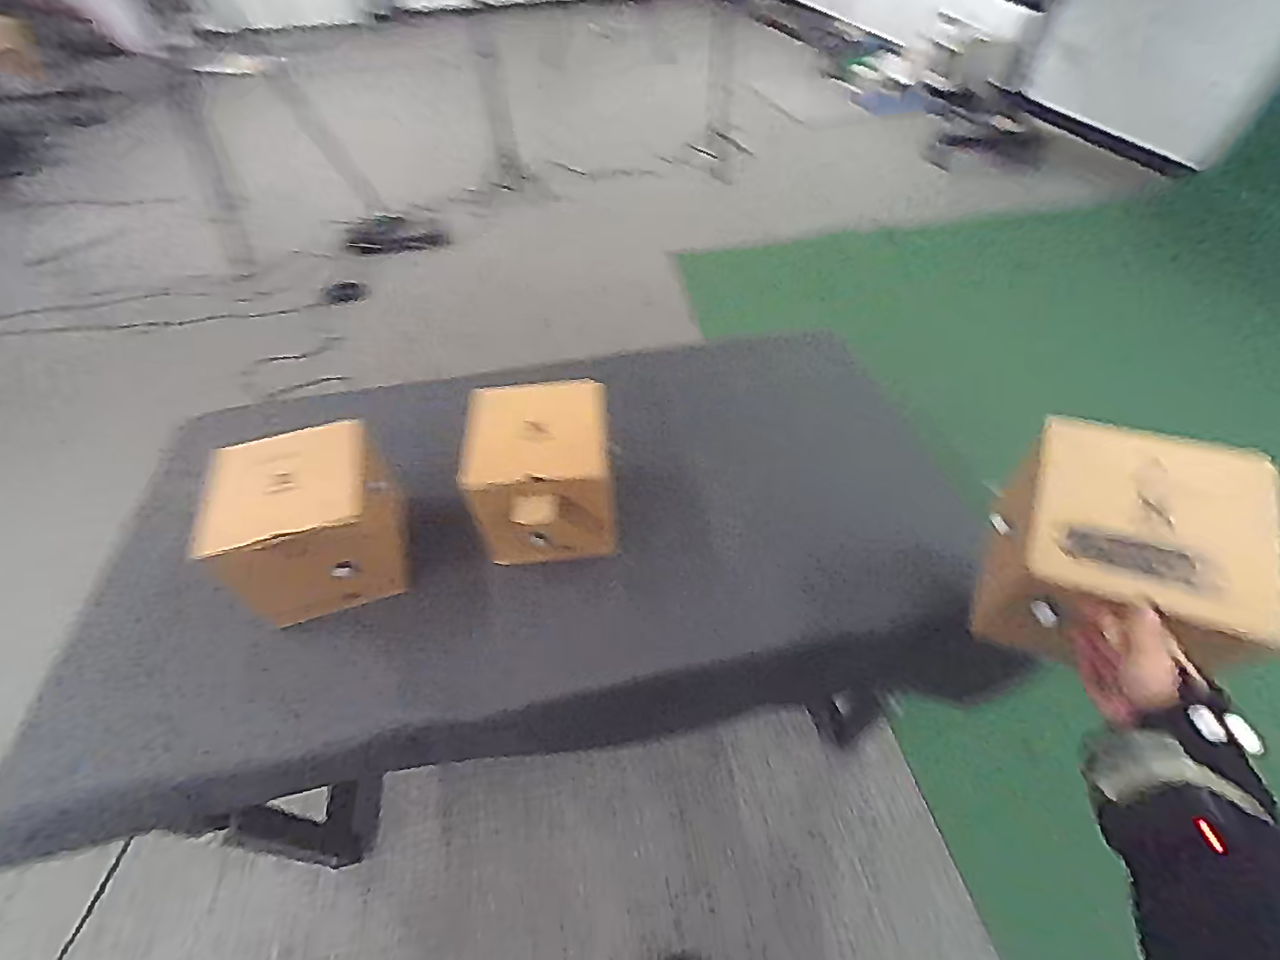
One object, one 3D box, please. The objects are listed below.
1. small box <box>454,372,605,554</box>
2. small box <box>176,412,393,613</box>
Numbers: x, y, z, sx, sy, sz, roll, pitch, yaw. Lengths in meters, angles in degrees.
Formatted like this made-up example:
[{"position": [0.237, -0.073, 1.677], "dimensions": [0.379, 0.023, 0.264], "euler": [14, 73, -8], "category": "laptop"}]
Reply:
[{"position": [-0.138, -0.022, 0.729], "dimensions": [0.168, 0.176, 0.179], "euler": [-6, 50, -3], "category": "small box"}, {"position": [-0.425, 0.047, 0.681], "dimensions": [0.168, 0.176, 0.179], "euler": [-16, 49, -13], "category": "small box"}]
